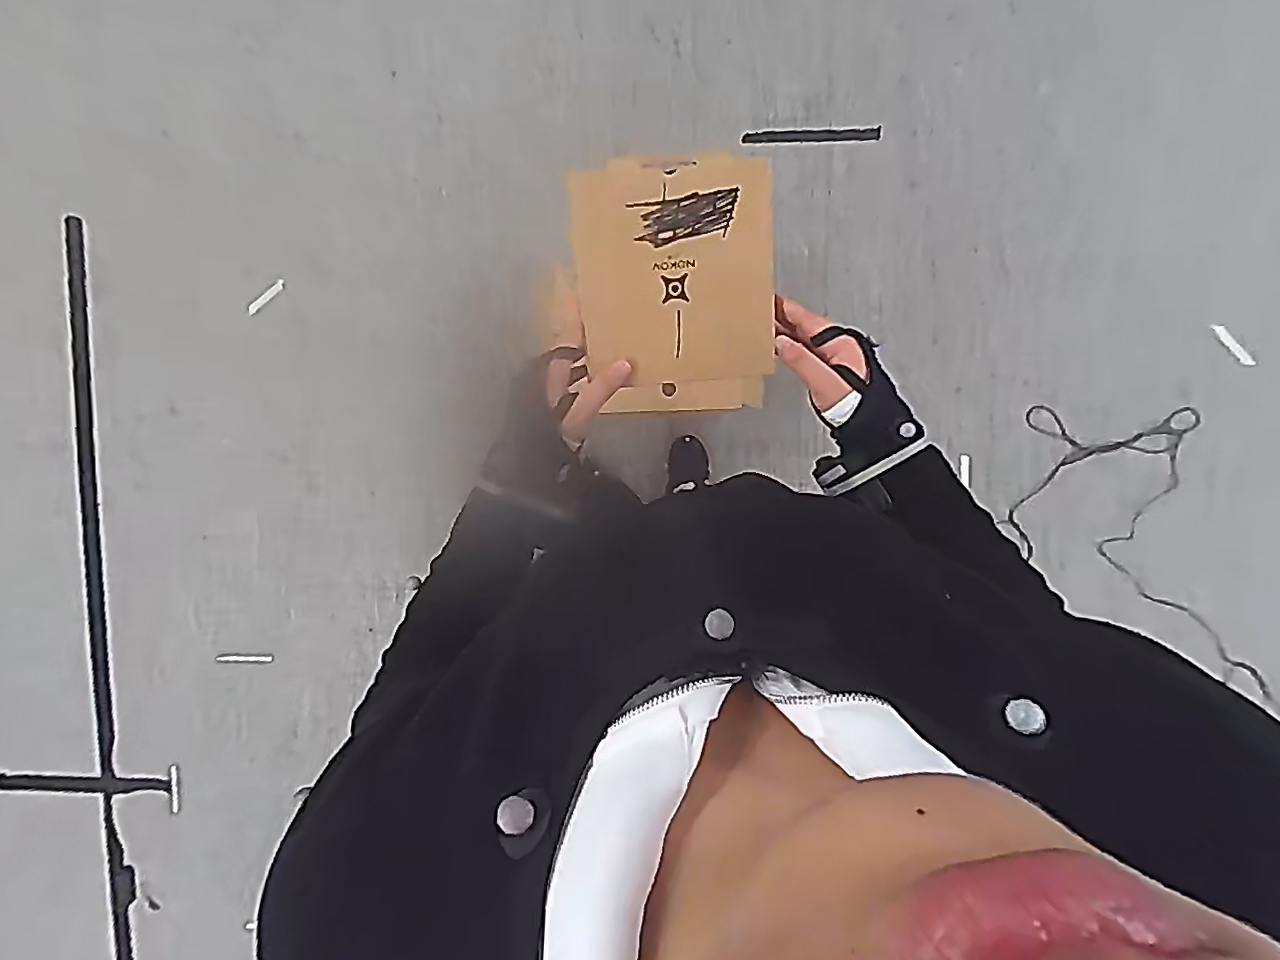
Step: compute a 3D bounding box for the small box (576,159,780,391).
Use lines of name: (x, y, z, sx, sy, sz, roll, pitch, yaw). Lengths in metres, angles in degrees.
small box: (0.033, -0.184, 0.526, 0.168, 0.176, 0.179, -5, 104, 1)
